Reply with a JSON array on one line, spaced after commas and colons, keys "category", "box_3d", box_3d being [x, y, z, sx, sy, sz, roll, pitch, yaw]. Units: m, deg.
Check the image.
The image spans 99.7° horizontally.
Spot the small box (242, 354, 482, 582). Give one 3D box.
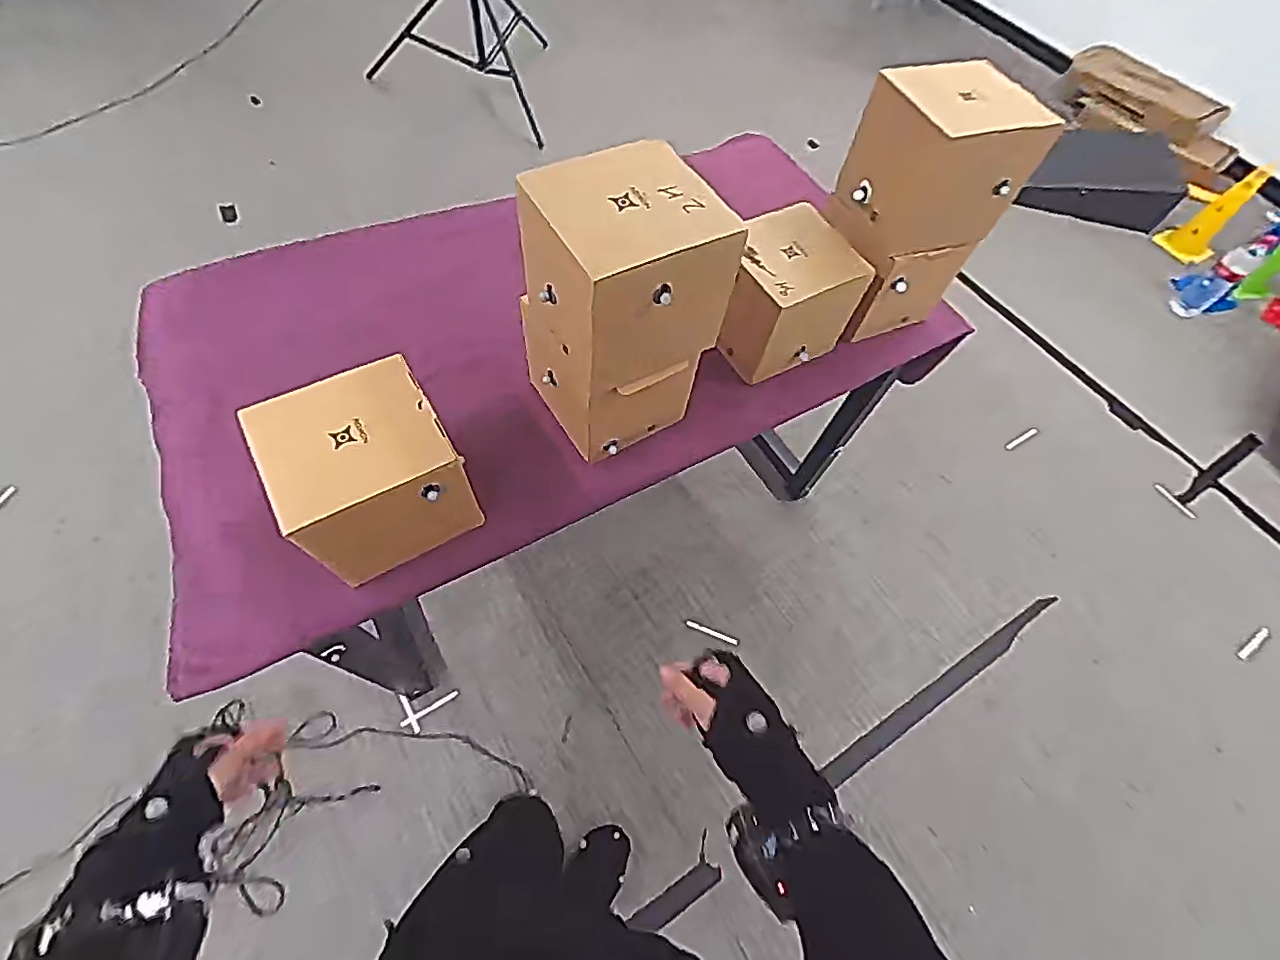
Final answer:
[{"category": "small box", "box_3d": [-0.306, -0.007, 0.628, 0.179, 0.176, 0.168, -28, 68, -19]}]

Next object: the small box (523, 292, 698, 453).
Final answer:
[{"category": "small box", "box_3d": [-0.039, -0.159, 0.737, 0.168, 0.176, 0.179, -28, 68, -19]}]

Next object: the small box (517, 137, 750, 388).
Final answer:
[{"category": "small box", "box_3d": [-0.013, -0.228, 0.589, 0.179, 0.176, 0.168, -26, 68, -19]}]

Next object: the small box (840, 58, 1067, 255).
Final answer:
[{"category": "small box", "box_3d": [0.415, -0.442, 0.750, 0.179, 0.176, 0.168, -15, 62, -12]}]
